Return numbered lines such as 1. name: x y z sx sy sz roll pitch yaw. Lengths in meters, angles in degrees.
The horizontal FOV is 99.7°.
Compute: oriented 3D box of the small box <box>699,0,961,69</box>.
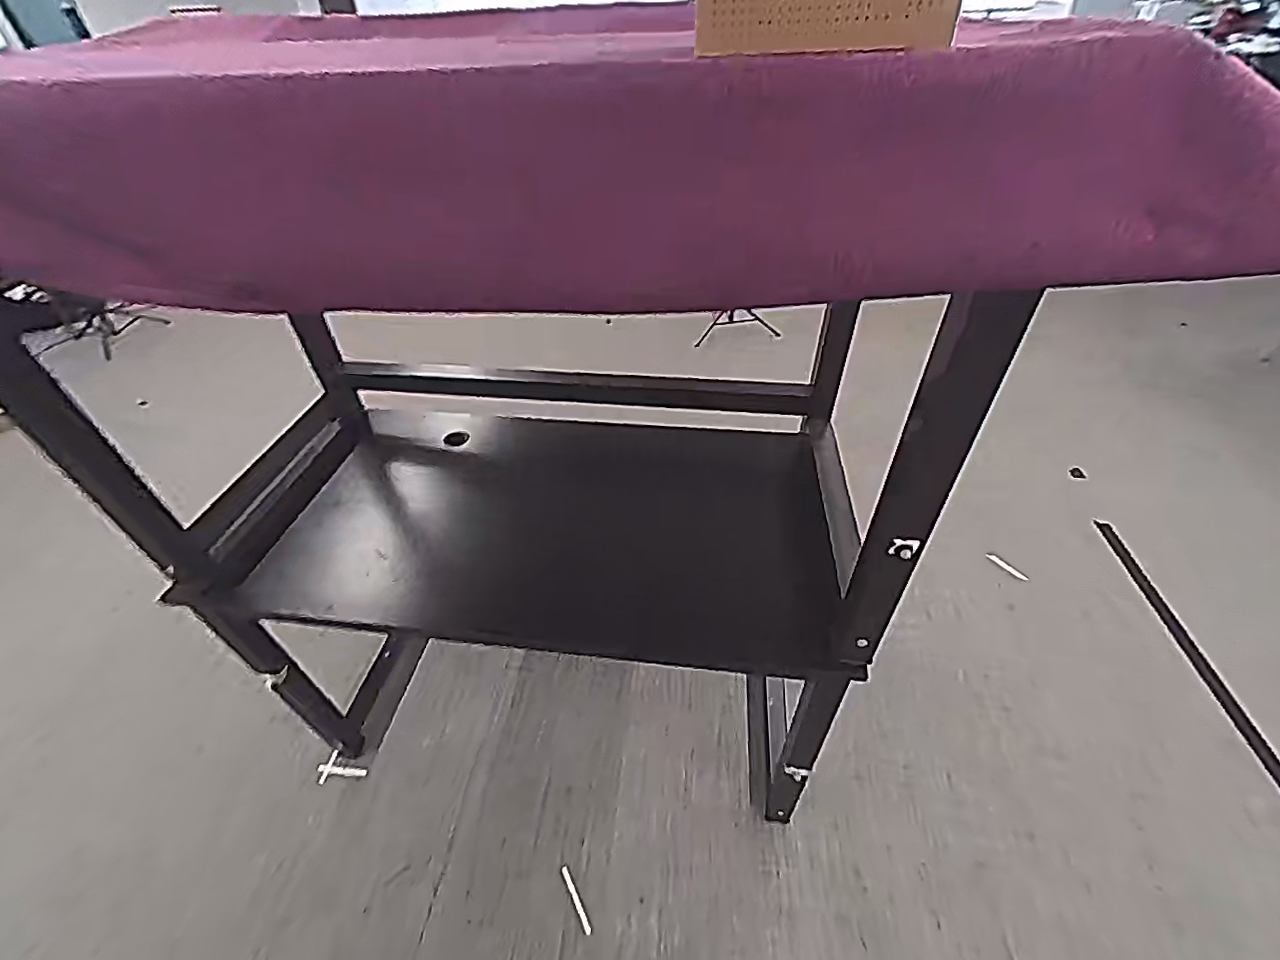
1. small box: 0.138 -0.405 0.379 0.179 0.176 0.168 5 41 9
